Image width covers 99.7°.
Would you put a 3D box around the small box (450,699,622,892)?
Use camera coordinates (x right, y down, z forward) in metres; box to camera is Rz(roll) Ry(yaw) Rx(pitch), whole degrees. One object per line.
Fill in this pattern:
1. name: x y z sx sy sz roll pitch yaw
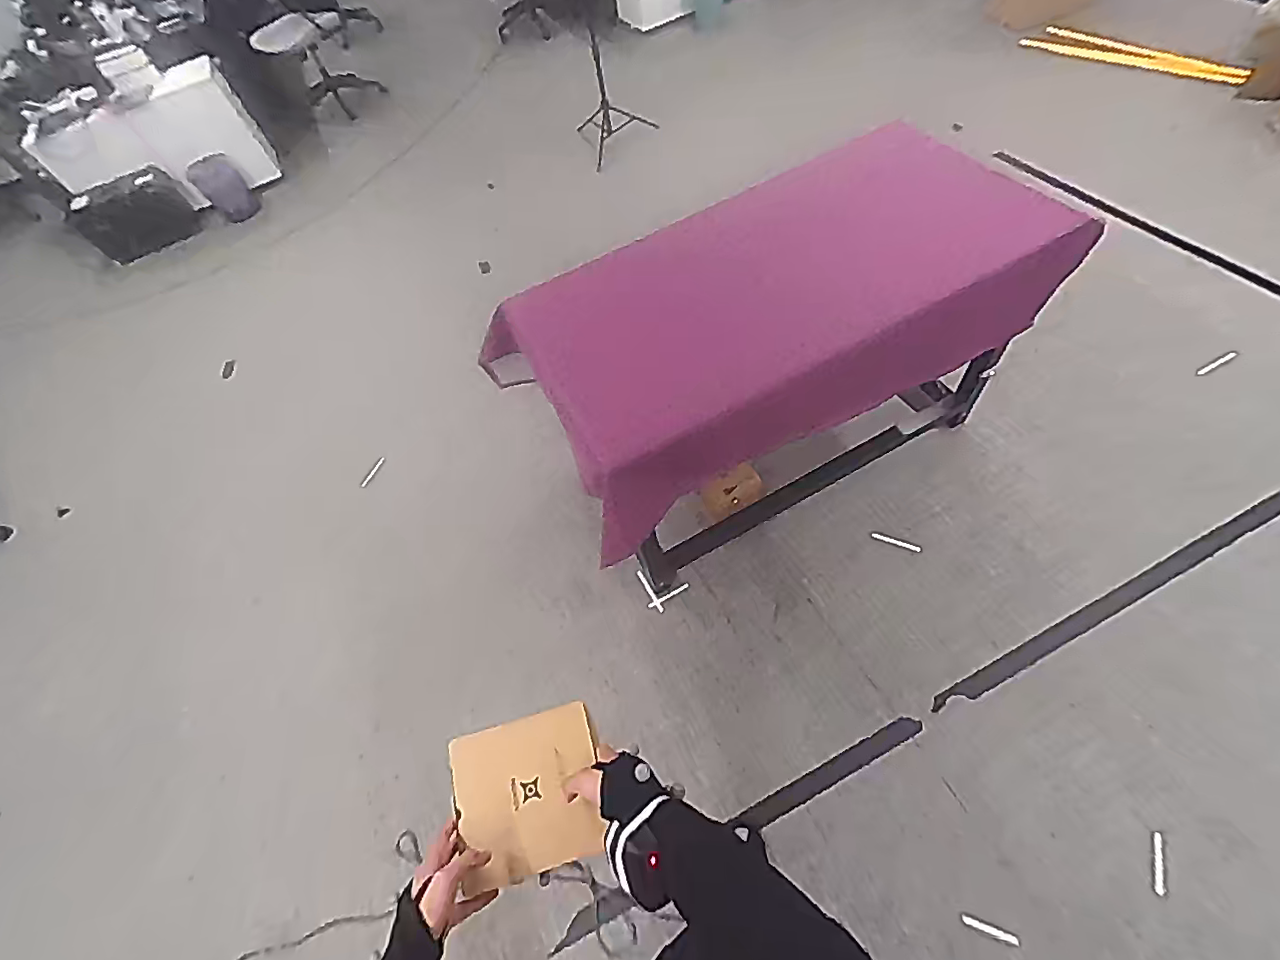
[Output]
1. small box: -0.129 0.407 0.703 0.179 0.176 0.168 -14 59 -6
